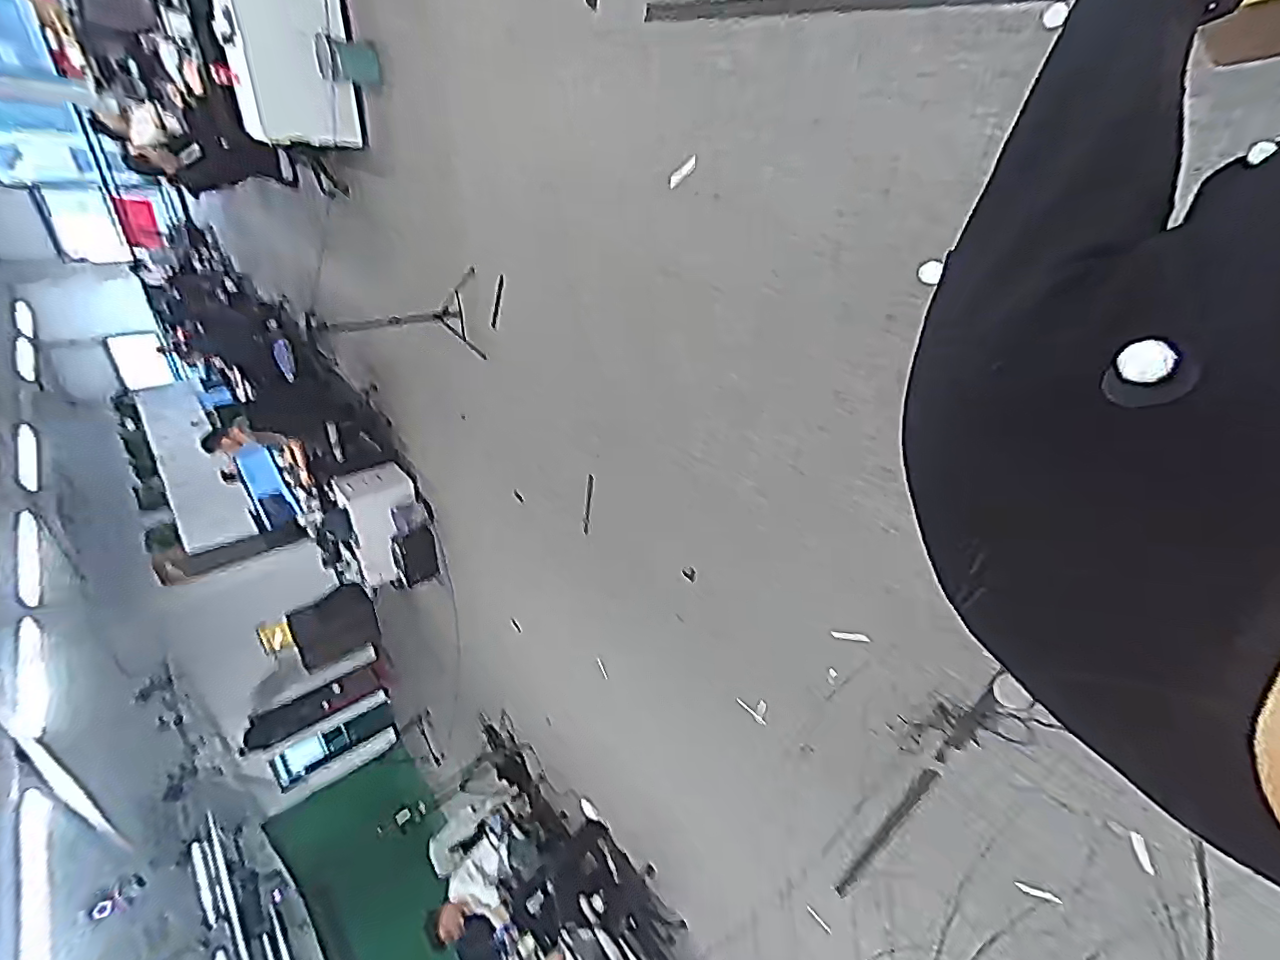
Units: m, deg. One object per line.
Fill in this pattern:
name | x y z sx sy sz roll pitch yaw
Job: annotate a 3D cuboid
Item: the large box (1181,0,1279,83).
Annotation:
large box | 0.661 -0.501 0.336 0.408 0.320 0.320 18 123 43
